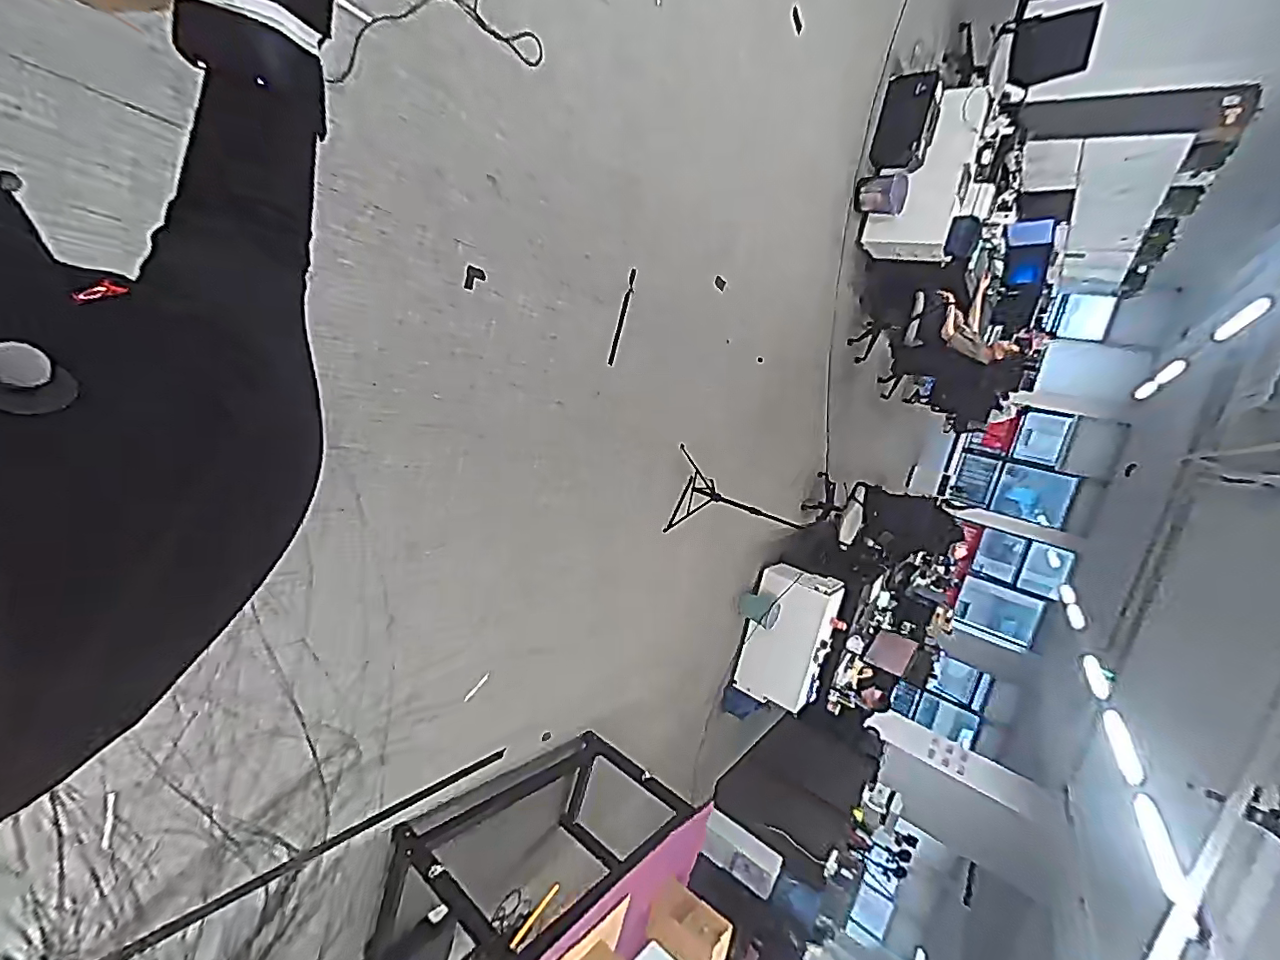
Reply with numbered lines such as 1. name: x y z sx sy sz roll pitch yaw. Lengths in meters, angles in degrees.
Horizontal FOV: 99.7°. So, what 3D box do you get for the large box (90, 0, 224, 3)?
1. large box: -0.456 -0.511 0.235 0.408 0.320 0.320 -5 120 -57
